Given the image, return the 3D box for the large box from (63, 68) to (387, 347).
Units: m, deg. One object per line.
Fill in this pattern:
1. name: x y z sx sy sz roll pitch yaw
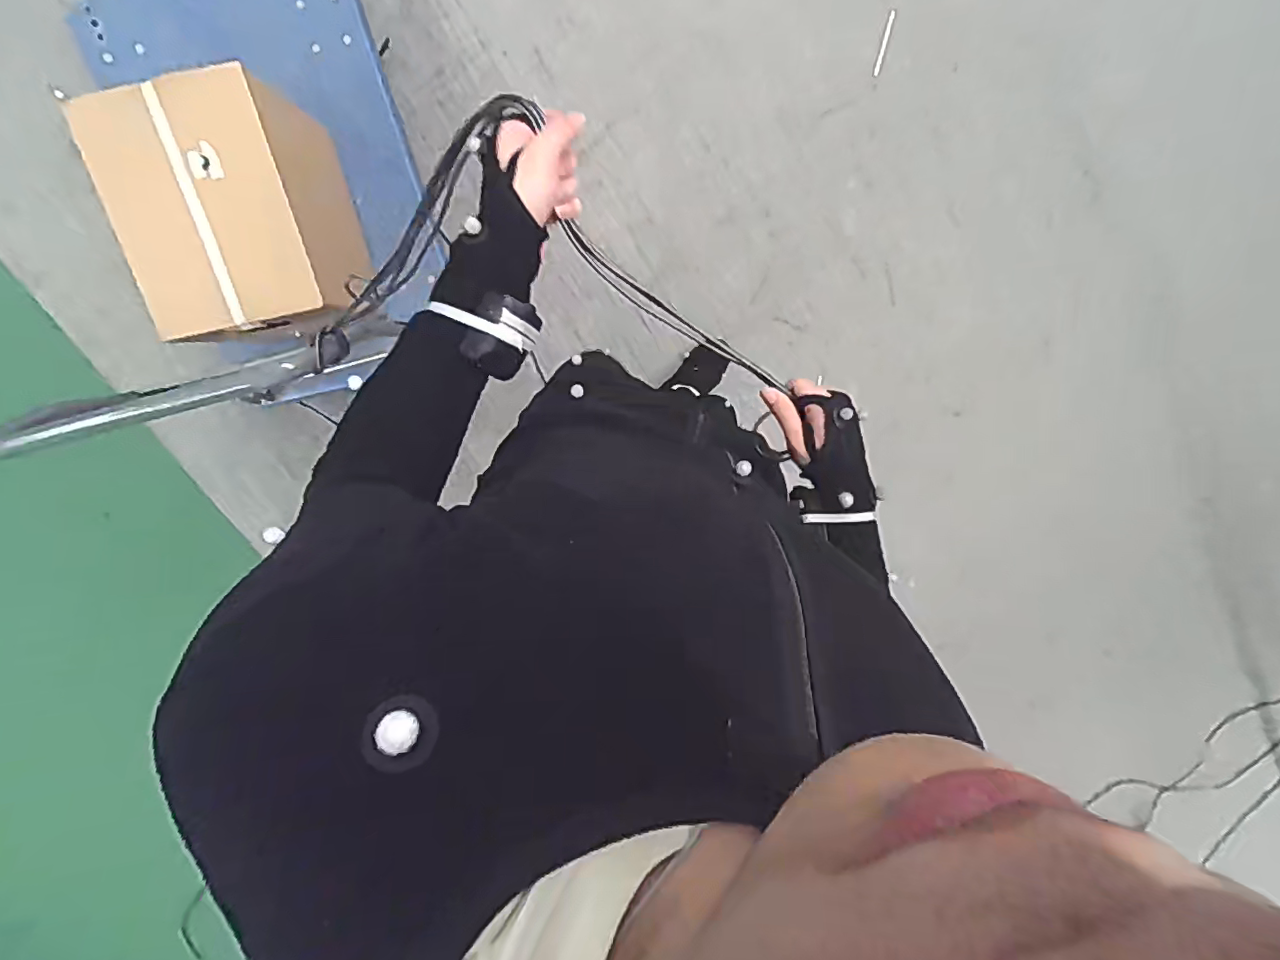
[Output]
1. large box: -0.778 -0.502 1.091 0.320 0.320 0.408 -13 104 -1
